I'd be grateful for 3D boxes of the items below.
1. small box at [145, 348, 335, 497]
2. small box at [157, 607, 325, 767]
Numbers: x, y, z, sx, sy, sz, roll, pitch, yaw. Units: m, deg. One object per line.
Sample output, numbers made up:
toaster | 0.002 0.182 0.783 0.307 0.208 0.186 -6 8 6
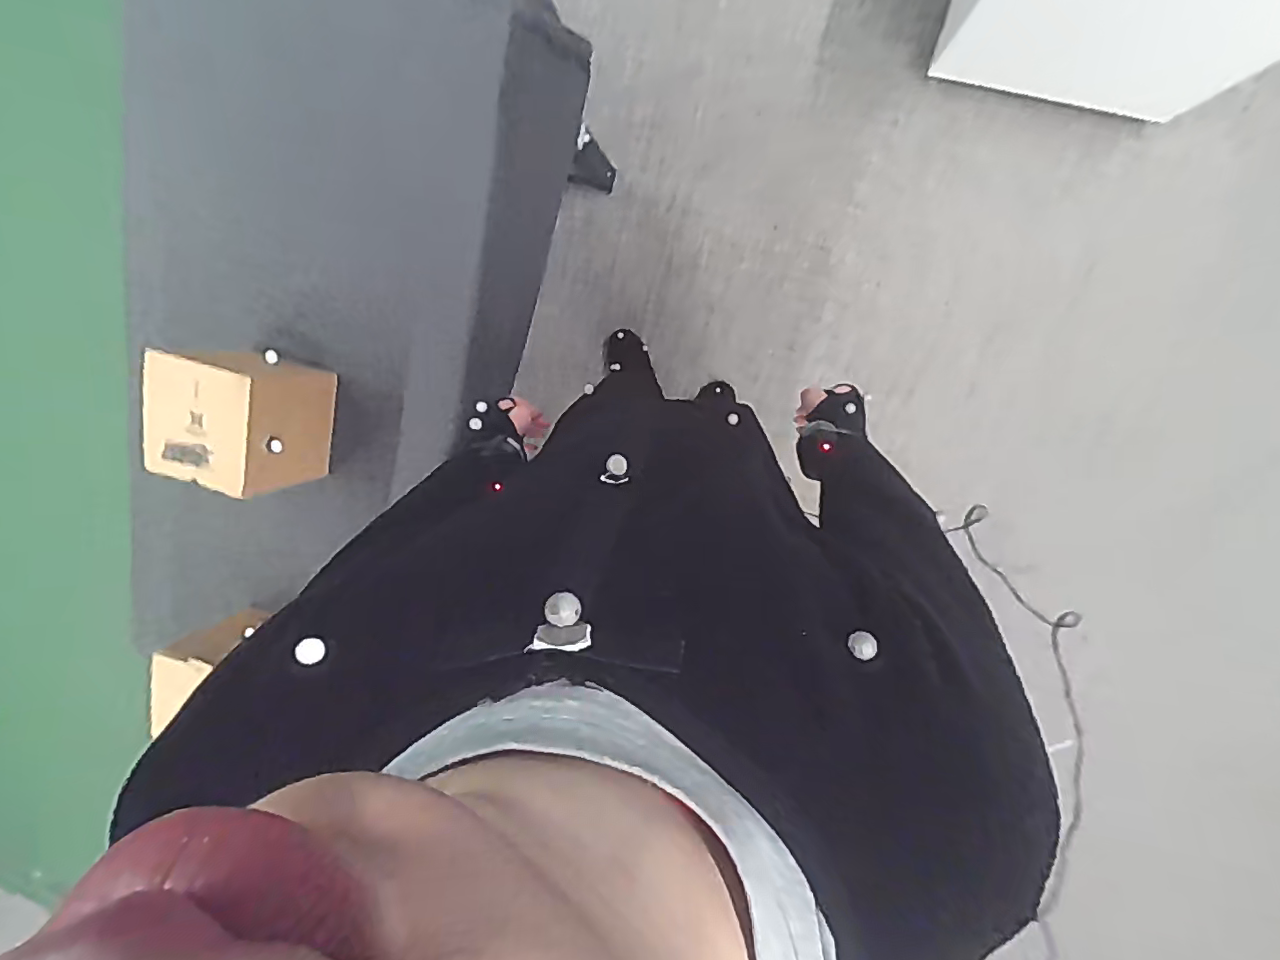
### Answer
small box | -0.599 -0.094 0.825 0.168 0.176 0.179 16 104 6
small box | -0.686 0.349 0.945 0.168 0.176 0.179 17 104 6
